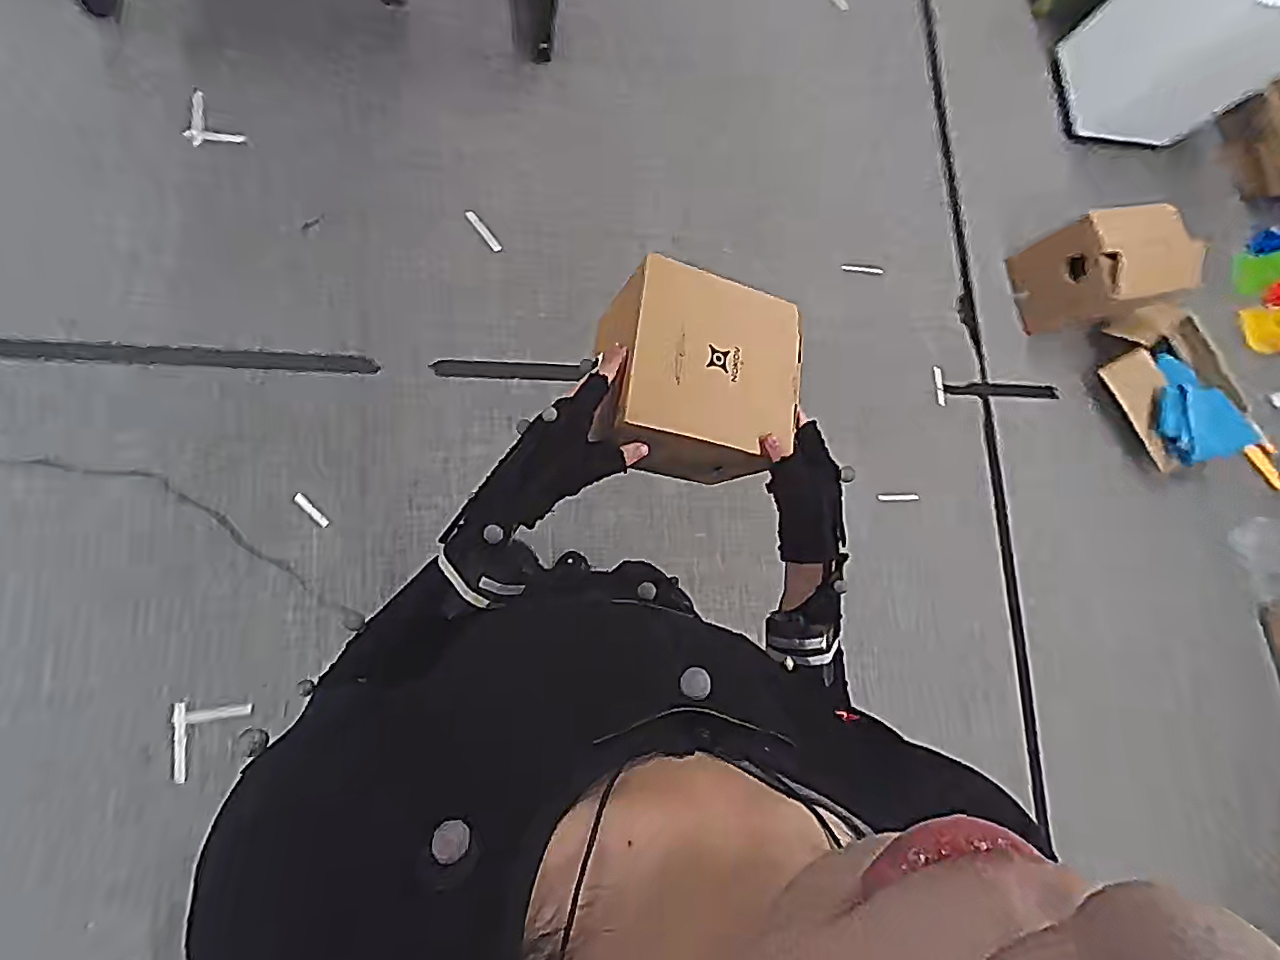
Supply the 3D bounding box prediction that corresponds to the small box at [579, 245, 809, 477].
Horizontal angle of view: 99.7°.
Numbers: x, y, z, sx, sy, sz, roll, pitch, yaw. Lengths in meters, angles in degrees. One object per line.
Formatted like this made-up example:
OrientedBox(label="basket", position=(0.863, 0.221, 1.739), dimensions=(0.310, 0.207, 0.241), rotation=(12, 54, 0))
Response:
OrientedBox(label="small box", position=(0.050, -0.103, 0.562), dimensions=(0.179, 0.176, 0.168), rotation=(10, 77, -19))
